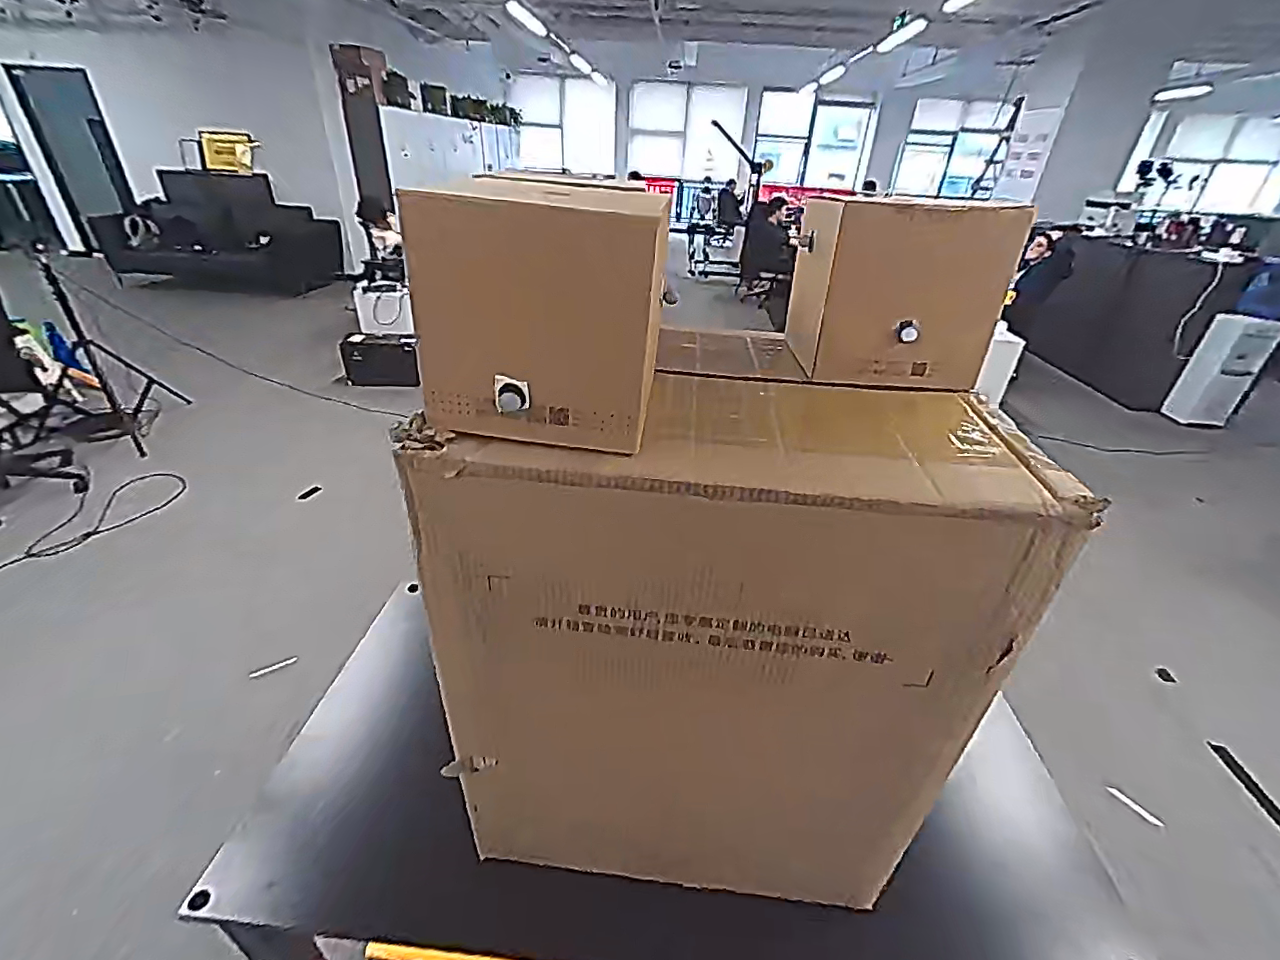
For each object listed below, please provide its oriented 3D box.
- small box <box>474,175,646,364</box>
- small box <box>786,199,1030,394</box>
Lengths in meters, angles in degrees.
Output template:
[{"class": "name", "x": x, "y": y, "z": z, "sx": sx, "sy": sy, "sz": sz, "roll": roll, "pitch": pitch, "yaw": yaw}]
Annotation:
[{"class": "small box", "x": -0.083, "y": -0.244, "z": 0.619, "sx": 0.168, "sy": 0.176, "sz": 0.179, "roll": 3, "pitch": 30, "yaw": -3}, {"class": "small box", "x": 0.263, "y": -0.204, "z": 0.585, "sx": 0.168, "sy": 0.176, "sz": 0.179, "roll": 3, "pitch": 29, "yaw": 3}]
